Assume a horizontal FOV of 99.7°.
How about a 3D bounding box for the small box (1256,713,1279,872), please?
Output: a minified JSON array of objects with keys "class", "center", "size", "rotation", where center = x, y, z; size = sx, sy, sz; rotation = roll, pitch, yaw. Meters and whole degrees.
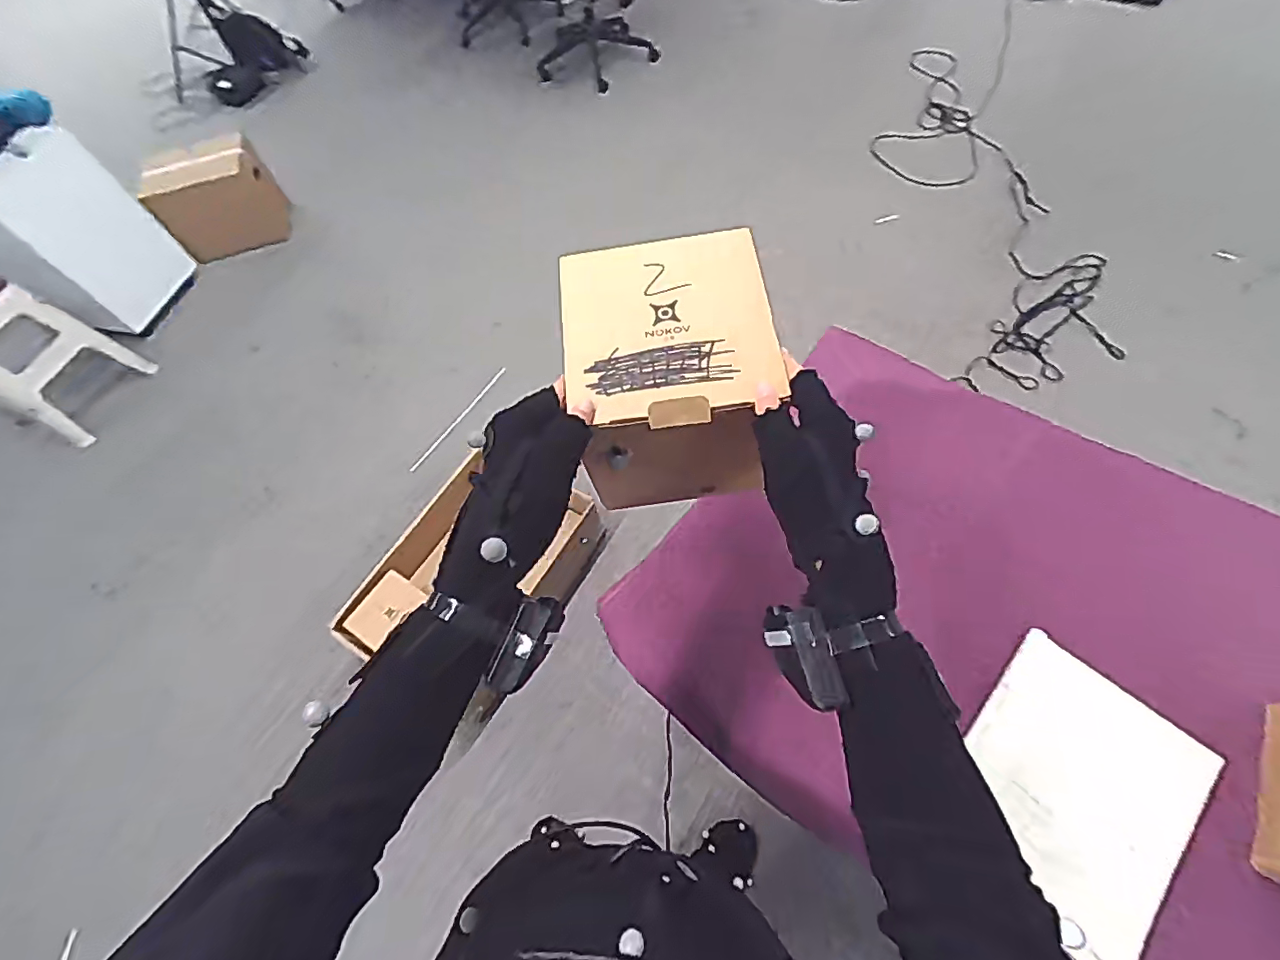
[{"class":"small box","center":[0.698,0.309,0.460],"size":[0.168,0.176,0.179],"rotation":[27,66,20]}]
